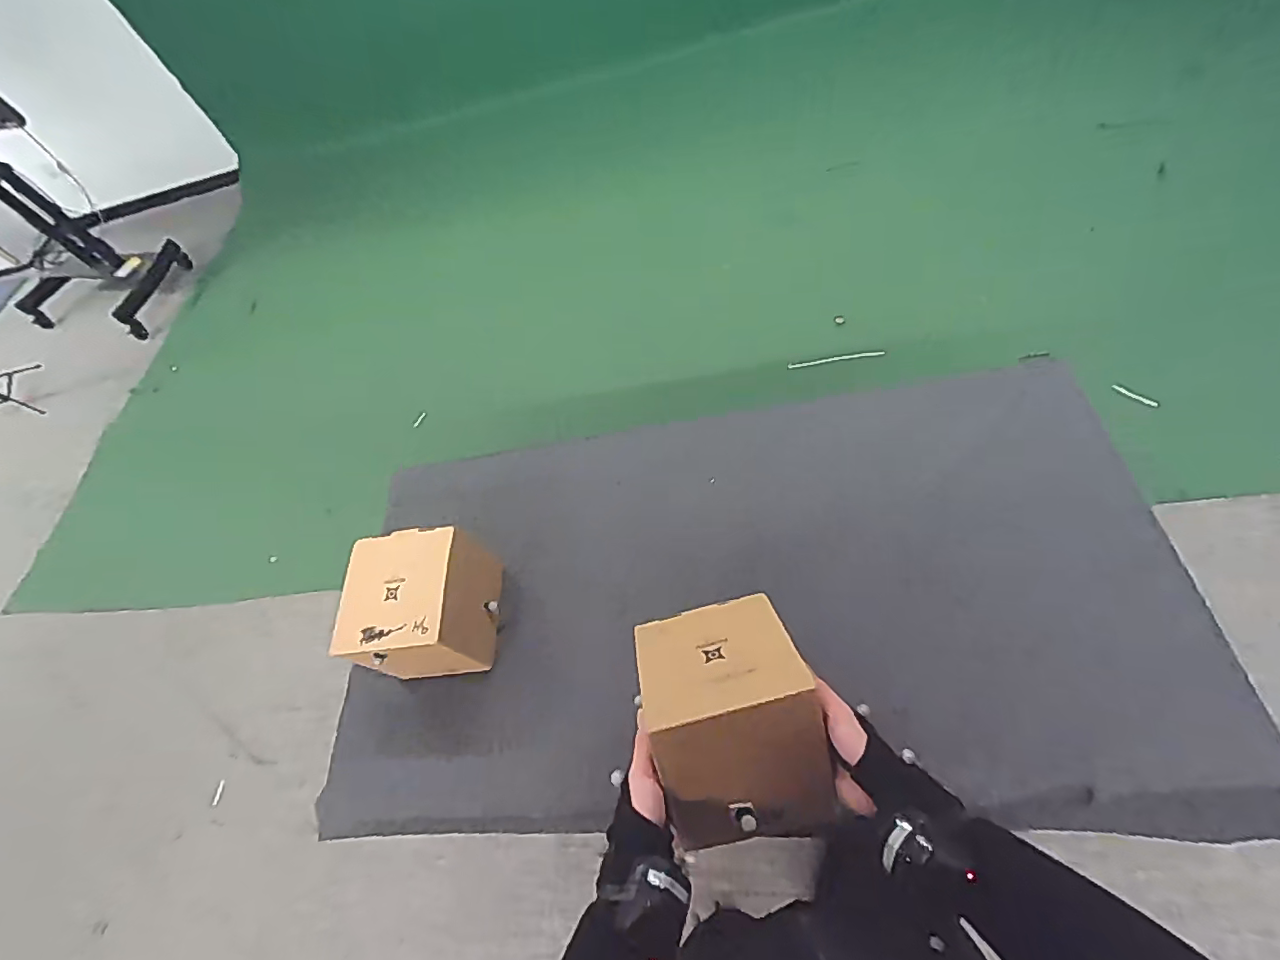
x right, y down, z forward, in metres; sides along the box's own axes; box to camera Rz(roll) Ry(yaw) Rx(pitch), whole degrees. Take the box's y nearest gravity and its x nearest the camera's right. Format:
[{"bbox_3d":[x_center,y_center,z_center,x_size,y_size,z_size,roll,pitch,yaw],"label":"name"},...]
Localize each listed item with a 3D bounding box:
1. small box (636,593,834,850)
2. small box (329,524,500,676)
[{"bbox_3d":[0.097,0.257,0.599,0.168,0.176,0.179,-15,20,1],"label":"small box"},{"bbox_3d":[-0.329,0.190,0.831,0.168,0.176,0.179,-9,58,10],"label":"small box"}]
